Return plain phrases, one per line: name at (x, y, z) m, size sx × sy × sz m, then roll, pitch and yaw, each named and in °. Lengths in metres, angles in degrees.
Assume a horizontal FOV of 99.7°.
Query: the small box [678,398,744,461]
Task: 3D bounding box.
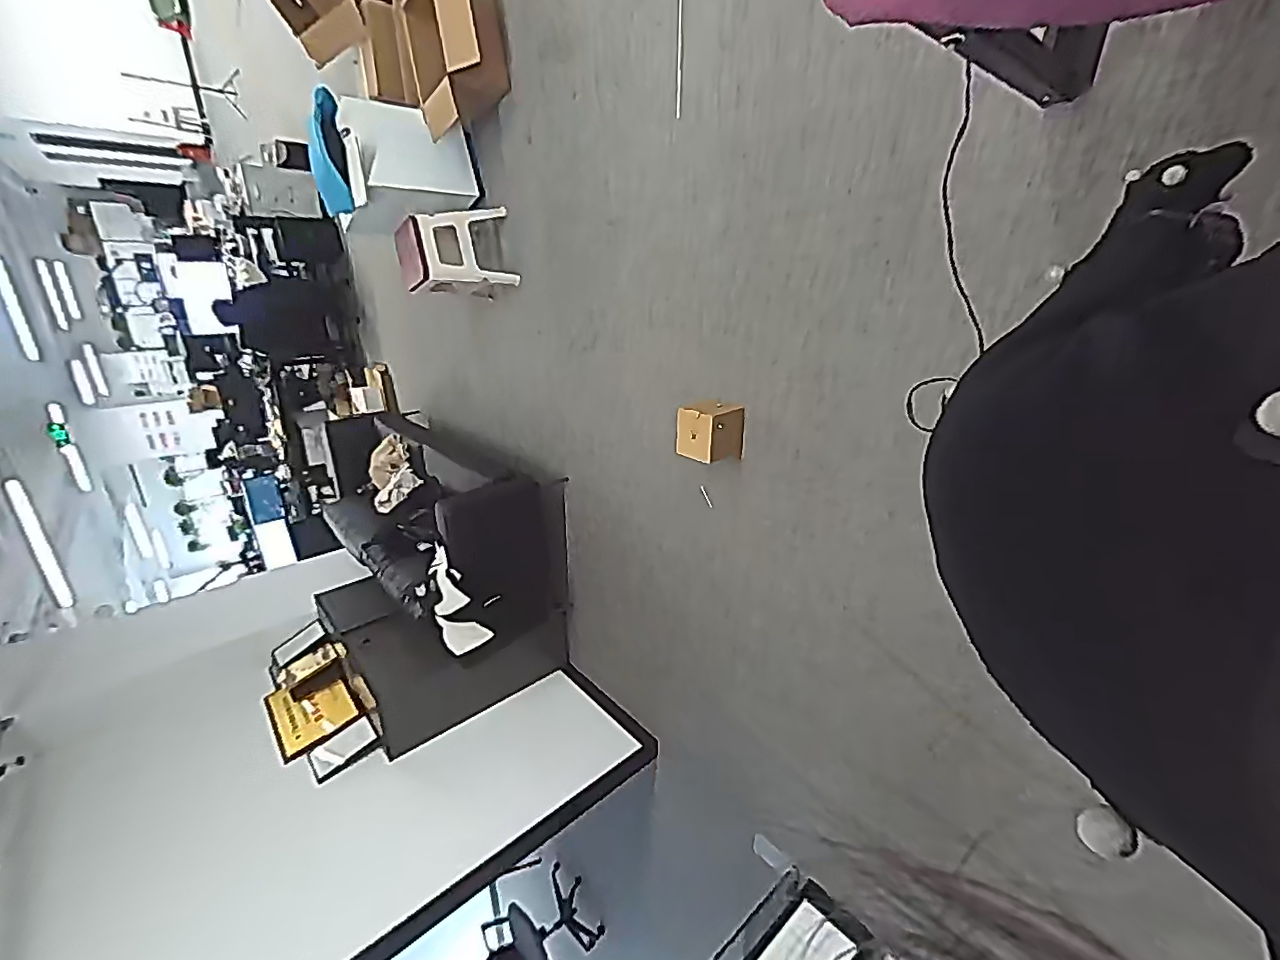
small box at (0.256, -0.186, 1.932) m, size 0.168 × 0.176 × 0.179 m, roll 23°, pitch 121°, yaw 44°
